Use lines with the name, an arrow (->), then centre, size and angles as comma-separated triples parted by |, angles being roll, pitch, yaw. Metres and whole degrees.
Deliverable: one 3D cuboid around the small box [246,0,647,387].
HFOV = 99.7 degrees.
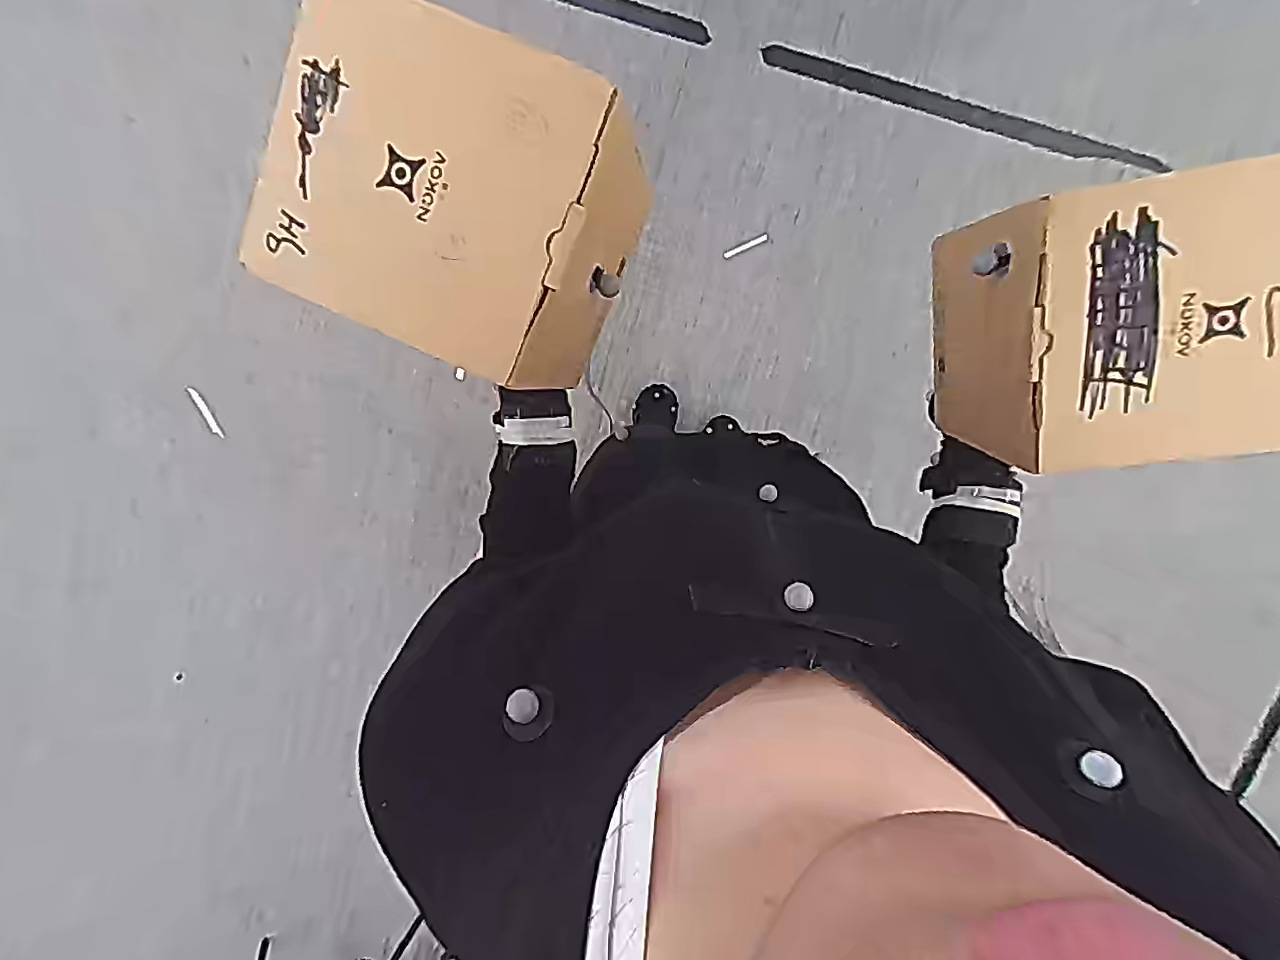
small box -> -0.106, -0.176, 0.368 | 0.179, 0.176, 0.168 | 24, 102, 1
